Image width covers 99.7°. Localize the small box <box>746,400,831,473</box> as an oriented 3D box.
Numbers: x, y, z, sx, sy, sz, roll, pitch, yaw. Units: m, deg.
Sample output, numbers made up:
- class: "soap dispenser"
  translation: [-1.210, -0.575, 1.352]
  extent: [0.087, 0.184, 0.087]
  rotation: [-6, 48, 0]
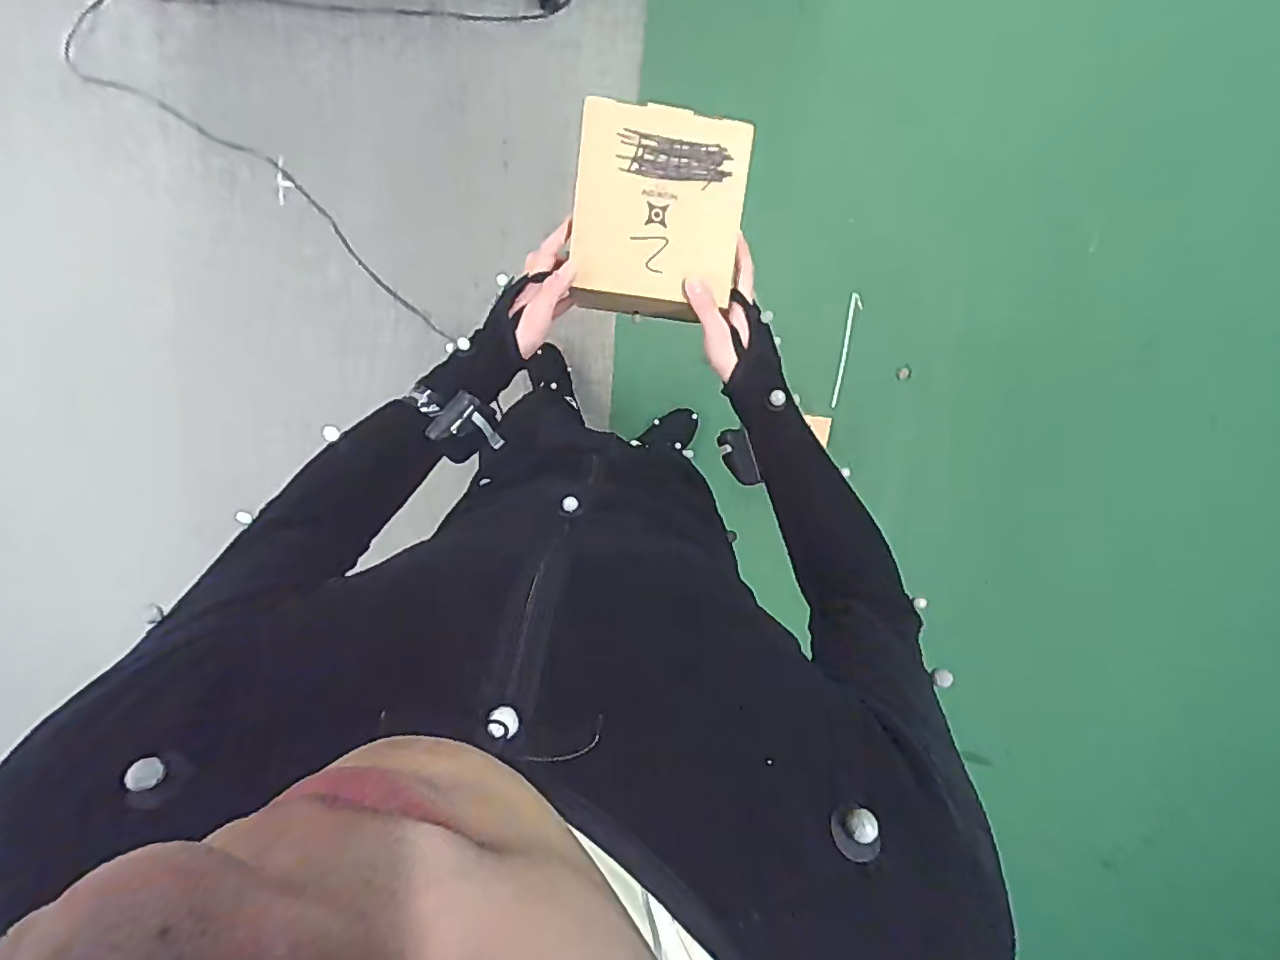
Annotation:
- class: "small box"
  translation: [0.405, -0.127, 1.500]
  extent: [0.179, 0.176, 0.168]
  rotation: [9, 102, 2]
